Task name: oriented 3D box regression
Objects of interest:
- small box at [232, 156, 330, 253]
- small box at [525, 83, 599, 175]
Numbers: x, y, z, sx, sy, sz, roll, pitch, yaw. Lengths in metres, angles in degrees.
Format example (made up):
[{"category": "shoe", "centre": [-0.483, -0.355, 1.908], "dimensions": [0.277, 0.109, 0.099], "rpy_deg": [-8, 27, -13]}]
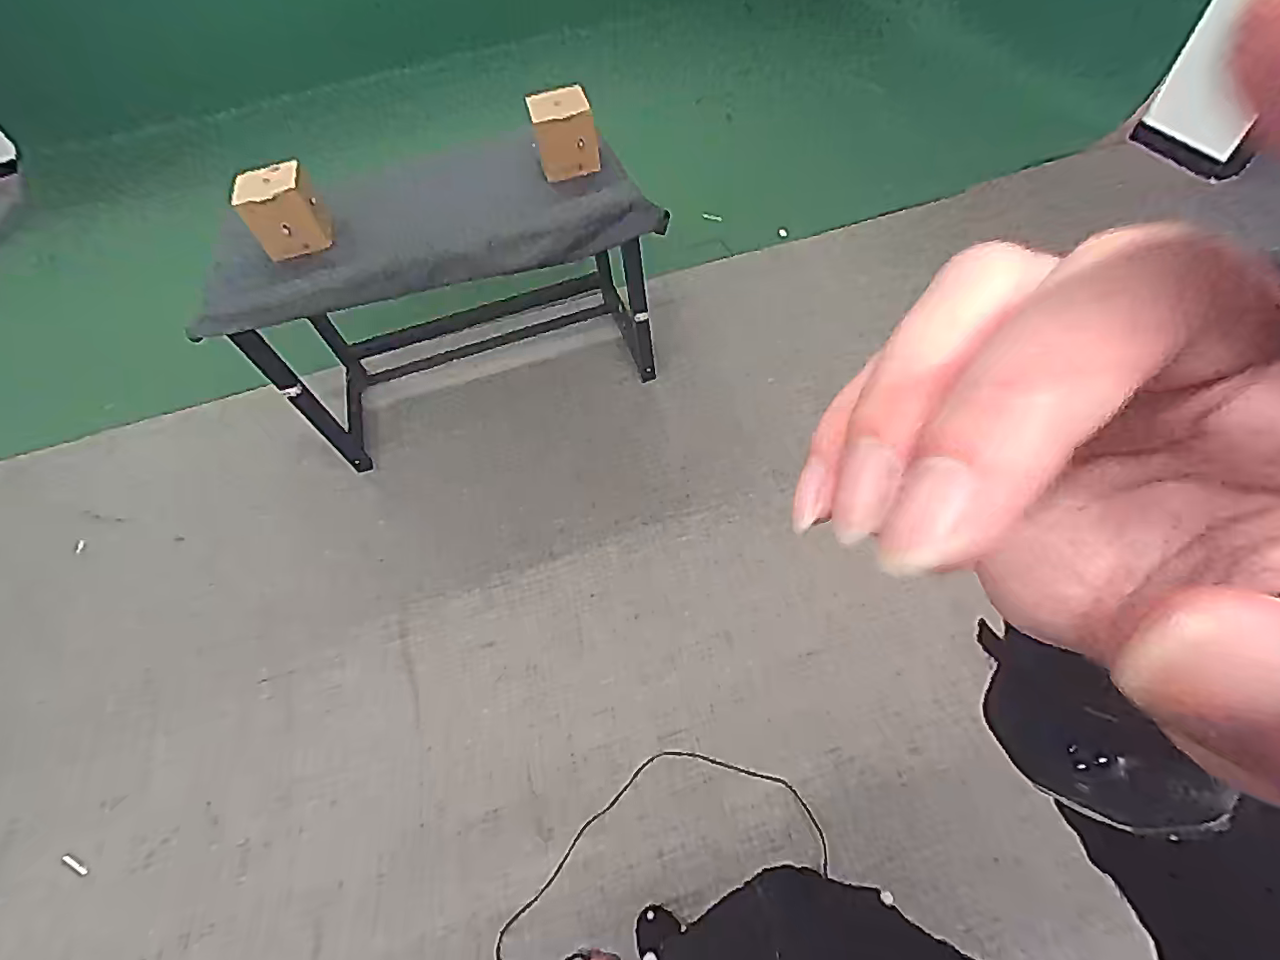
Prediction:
[{"category": "small box", "centre": [-0.985, -0.755, 1.499], "dimensions": [0.168, 0.176, 0.179], "rpy_deg": [-19, 57, -7]}, {"category": "small box", "centre": [-0.224, -1.017, 1.579], "dimensions": [0.168, 0.176, 0.179], "rpy_deg": [-15, 56, -4]}]
